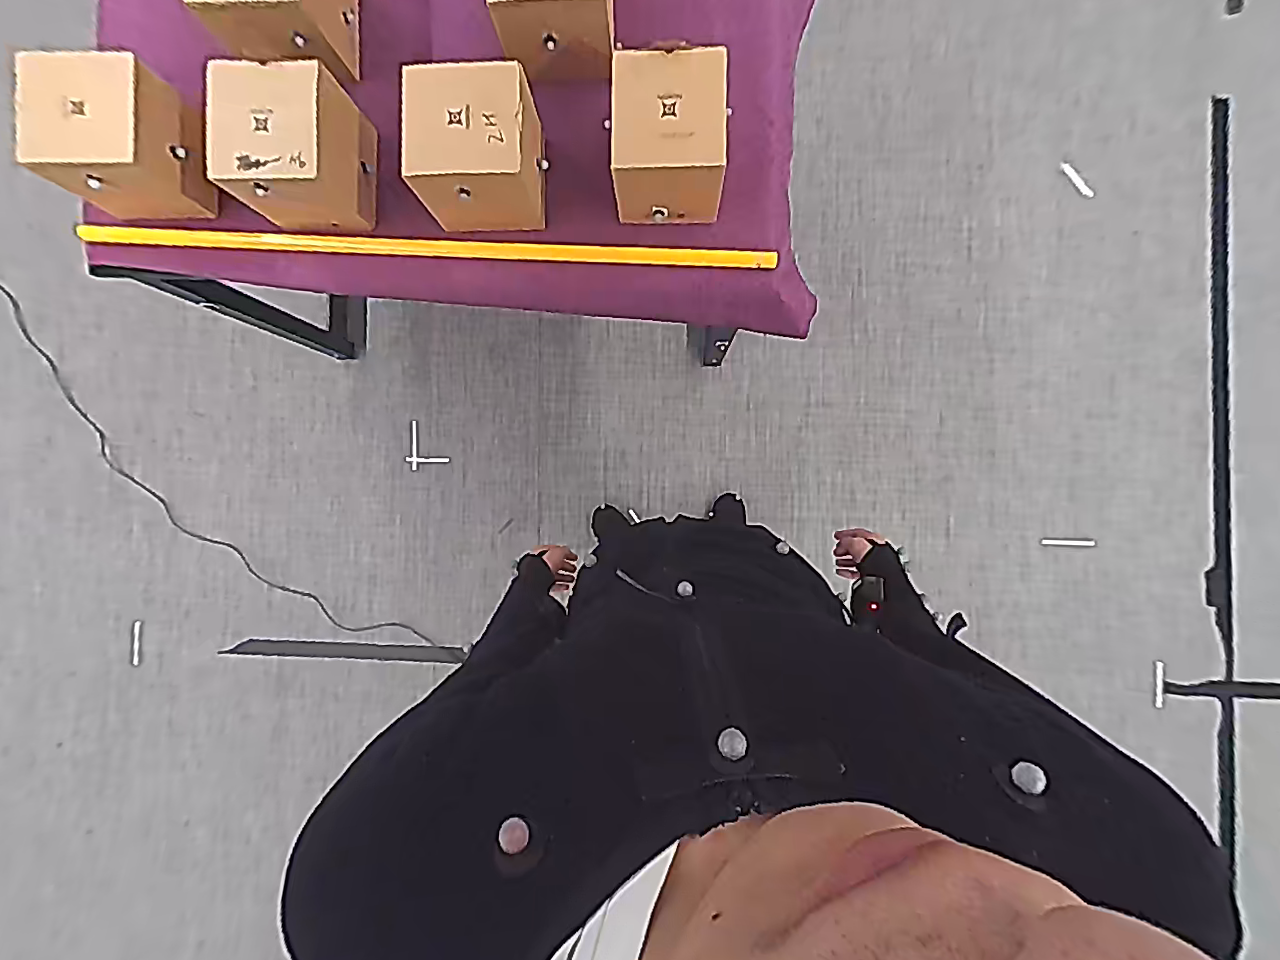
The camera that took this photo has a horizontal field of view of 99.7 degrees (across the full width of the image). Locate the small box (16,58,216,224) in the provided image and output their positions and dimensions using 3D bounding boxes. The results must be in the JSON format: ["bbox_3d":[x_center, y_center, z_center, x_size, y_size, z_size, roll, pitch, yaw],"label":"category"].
[{"bbox_3d":[-0.822,-0.531,0.869,0.179,0.176,0.168,1,89,2],"label":"small box"}]

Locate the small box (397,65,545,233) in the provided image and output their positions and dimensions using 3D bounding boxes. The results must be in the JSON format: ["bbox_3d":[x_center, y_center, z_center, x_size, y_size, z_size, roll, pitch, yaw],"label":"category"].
[{"bbox_3d":[-0.255,-0.506,0.850,0.179,0.176,0.168,0,88,2],"label":"small box"}]

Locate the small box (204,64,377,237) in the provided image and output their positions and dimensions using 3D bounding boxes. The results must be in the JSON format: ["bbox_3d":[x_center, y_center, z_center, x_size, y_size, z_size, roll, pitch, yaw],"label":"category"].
[{"bbox_3d":[-0.542,-0.514,0.860,0.168,0.176,0.179,1,89,3],"label":"small box"}]

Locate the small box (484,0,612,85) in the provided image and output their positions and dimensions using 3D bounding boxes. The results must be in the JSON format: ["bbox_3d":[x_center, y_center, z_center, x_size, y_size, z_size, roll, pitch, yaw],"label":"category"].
[{"bbox_3d":[-0.136,-0.761,0.850,0.179,0.176,0.168,-1,90,3],"label":"small box"}]

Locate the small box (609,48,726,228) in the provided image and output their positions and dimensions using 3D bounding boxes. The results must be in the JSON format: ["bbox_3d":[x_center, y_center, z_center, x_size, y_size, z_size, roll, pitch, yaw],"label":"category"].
[{"bbox_3d":[0.043,-0.519,0.840,0.168,0.176,0.179,0,87,4],"label":"small box"}]
